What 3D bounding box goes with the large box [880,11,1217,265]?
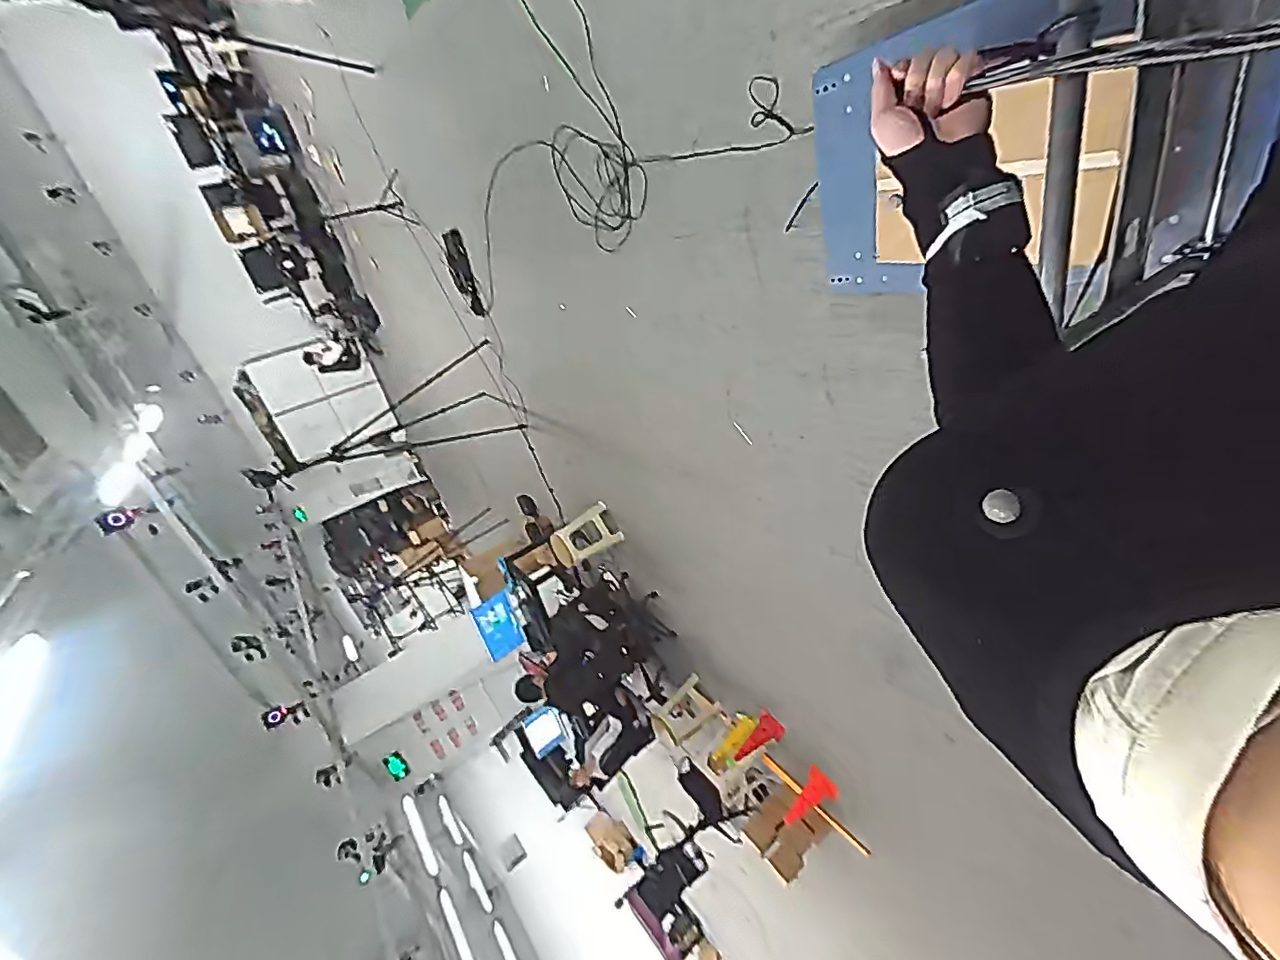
[{"bbox_3d":[0.724,-0.608,1.015,0.408,0.320,0.320,27,139,48],"label":"large box"}]
